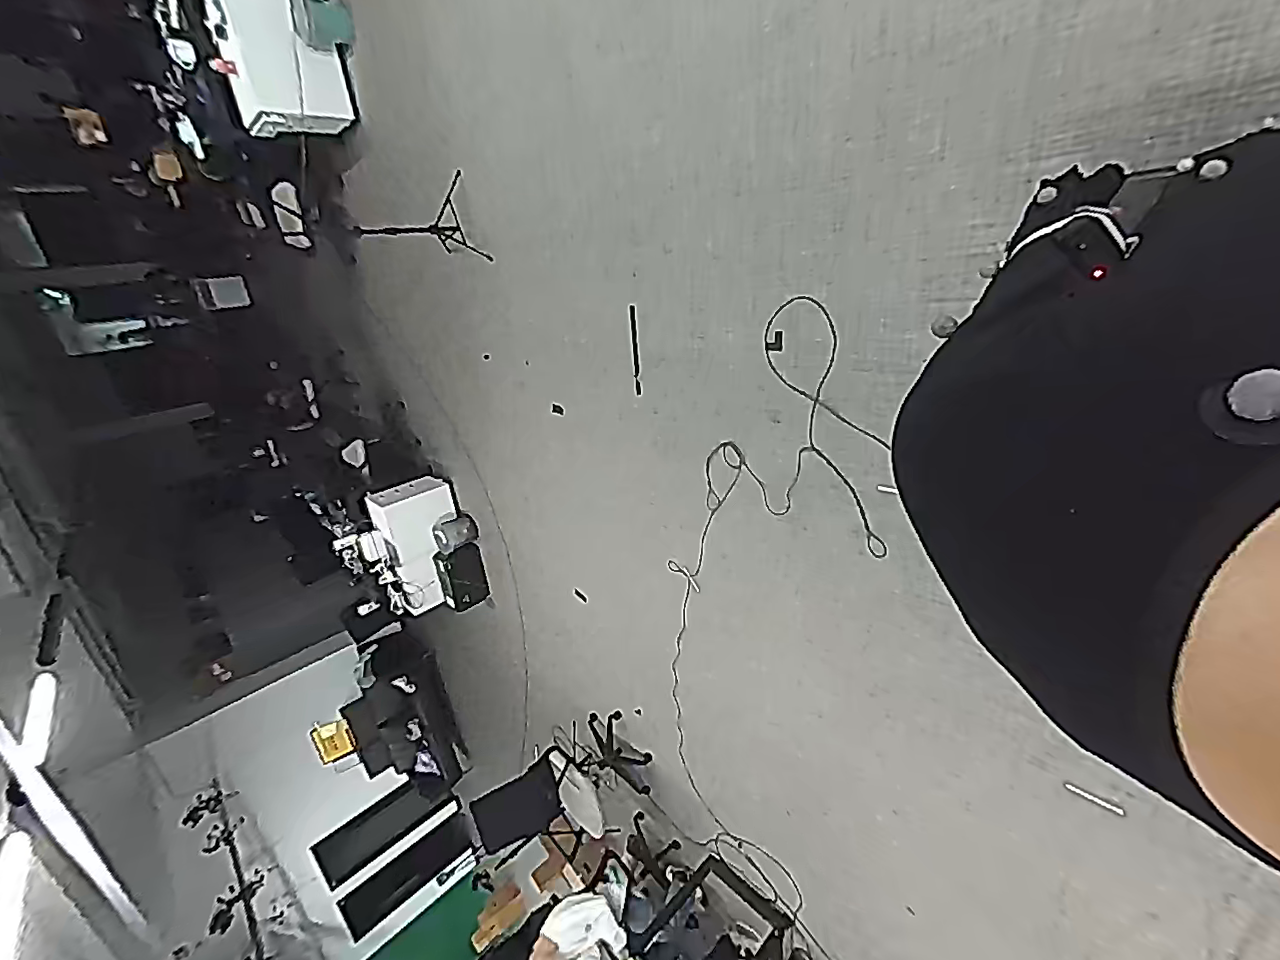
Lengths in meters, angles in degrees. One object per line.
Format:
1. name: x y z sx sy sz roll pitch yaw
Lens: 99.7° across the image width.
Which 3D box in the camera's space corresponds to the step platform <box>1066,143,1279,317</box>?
1. step platform: 1.187 -0.451 0.955 0.684 0.204 0.286 14 120 44
